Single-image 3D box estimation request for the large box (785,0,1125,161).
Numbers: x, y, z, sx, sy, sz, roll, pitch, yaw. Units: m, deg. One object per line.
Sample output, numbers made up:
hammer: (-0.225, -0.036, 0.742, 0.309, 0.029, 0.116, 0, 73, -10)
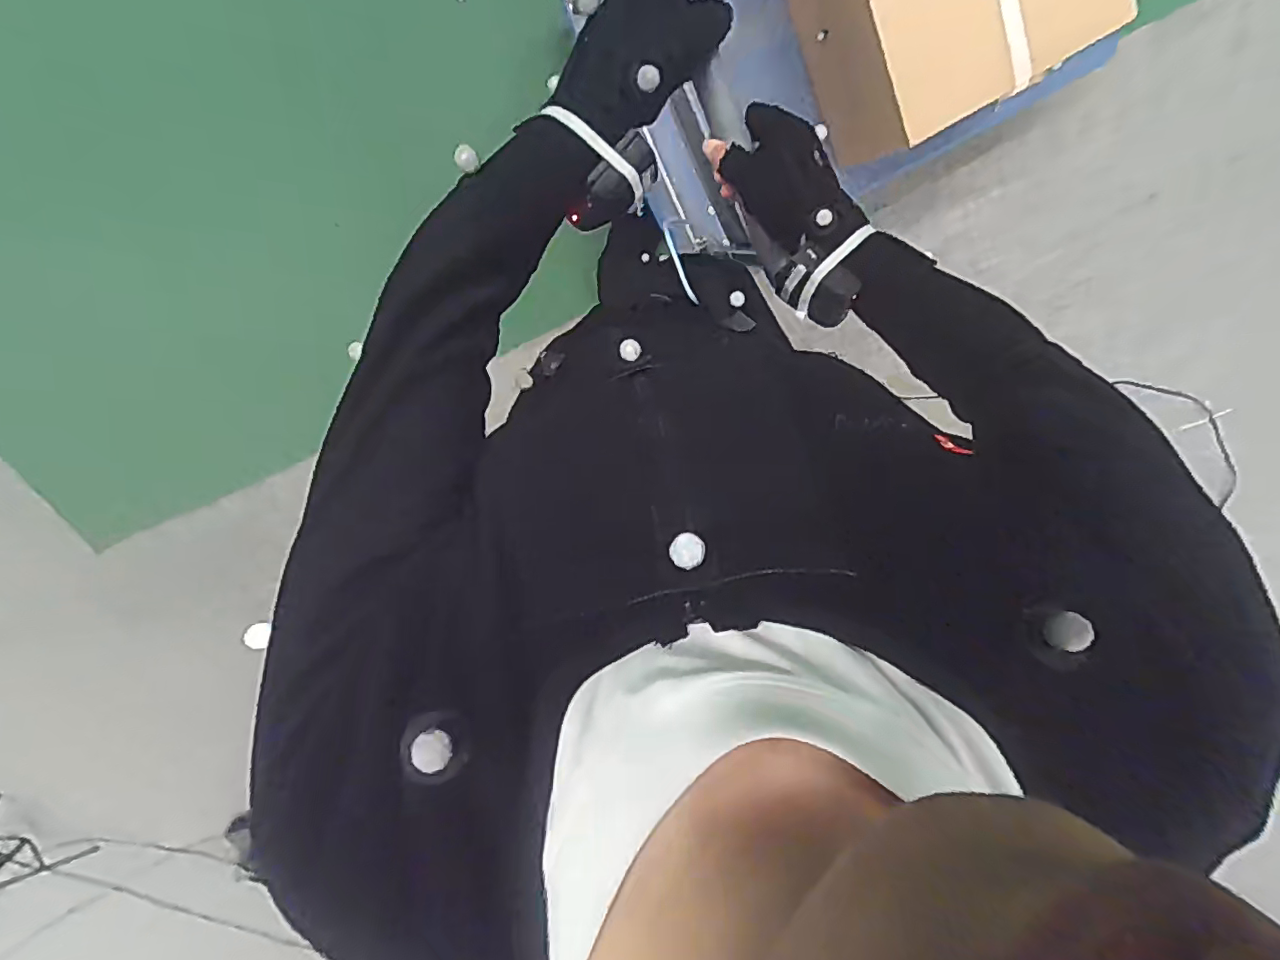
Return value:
large box: (0.429, -0.782, 0.825, 0.320, 0.320, 0.408, -26, 112, 11)
